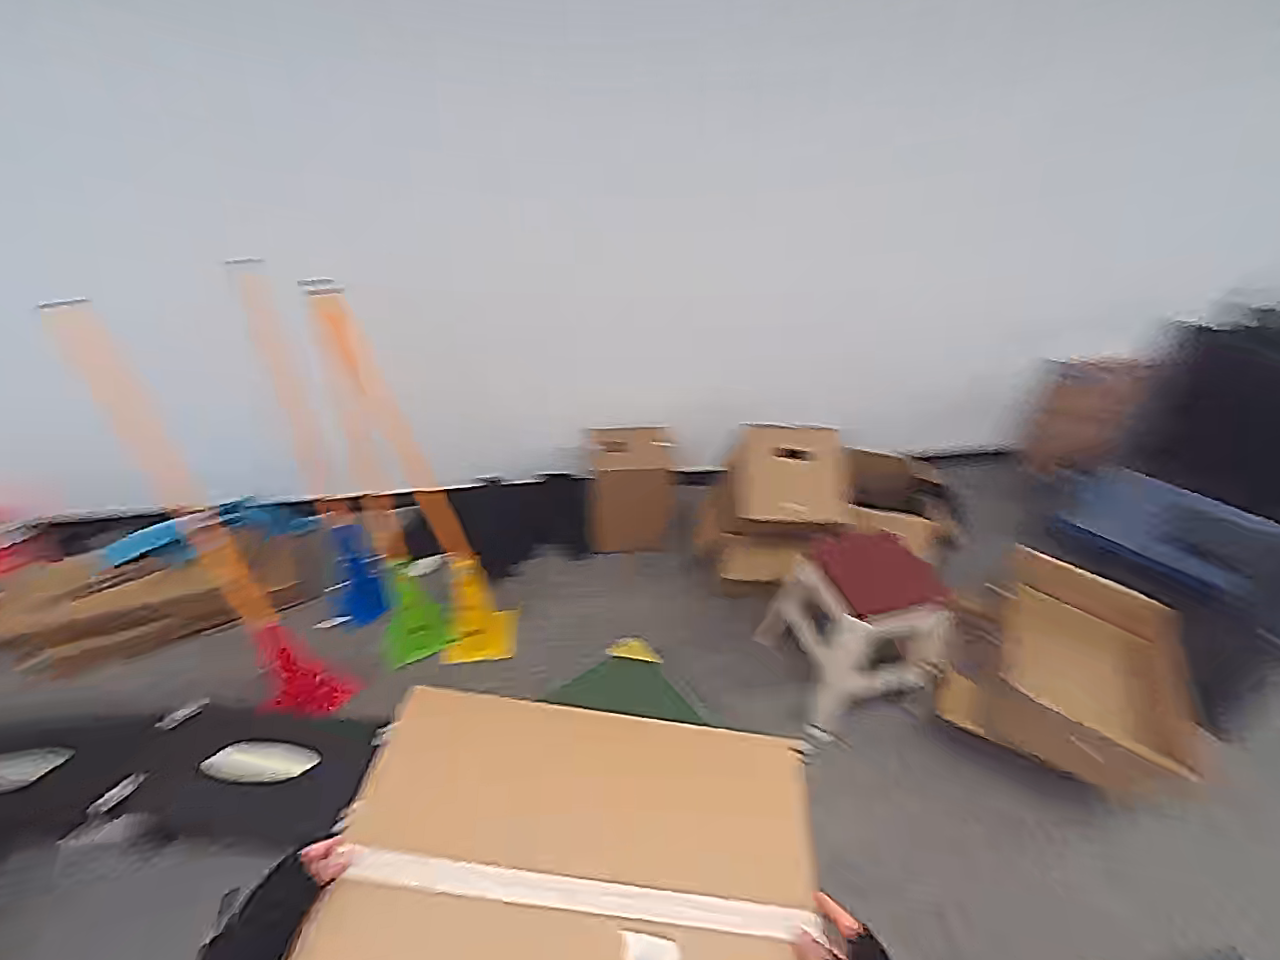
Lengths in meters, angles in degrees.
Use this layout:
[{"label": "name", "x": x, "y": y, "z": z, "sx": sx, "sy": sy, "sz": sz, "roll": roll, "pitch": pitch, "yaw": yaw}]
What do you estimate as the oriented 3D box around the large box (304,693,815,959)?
[{"label": "large box", "x": -0.069, "y": 0.462, "z": 0.549, "sx": 0.408, "sy": 0.320, "sz": 0.320, "roll": 9, "pitch": 40, "yaw": 1}]
